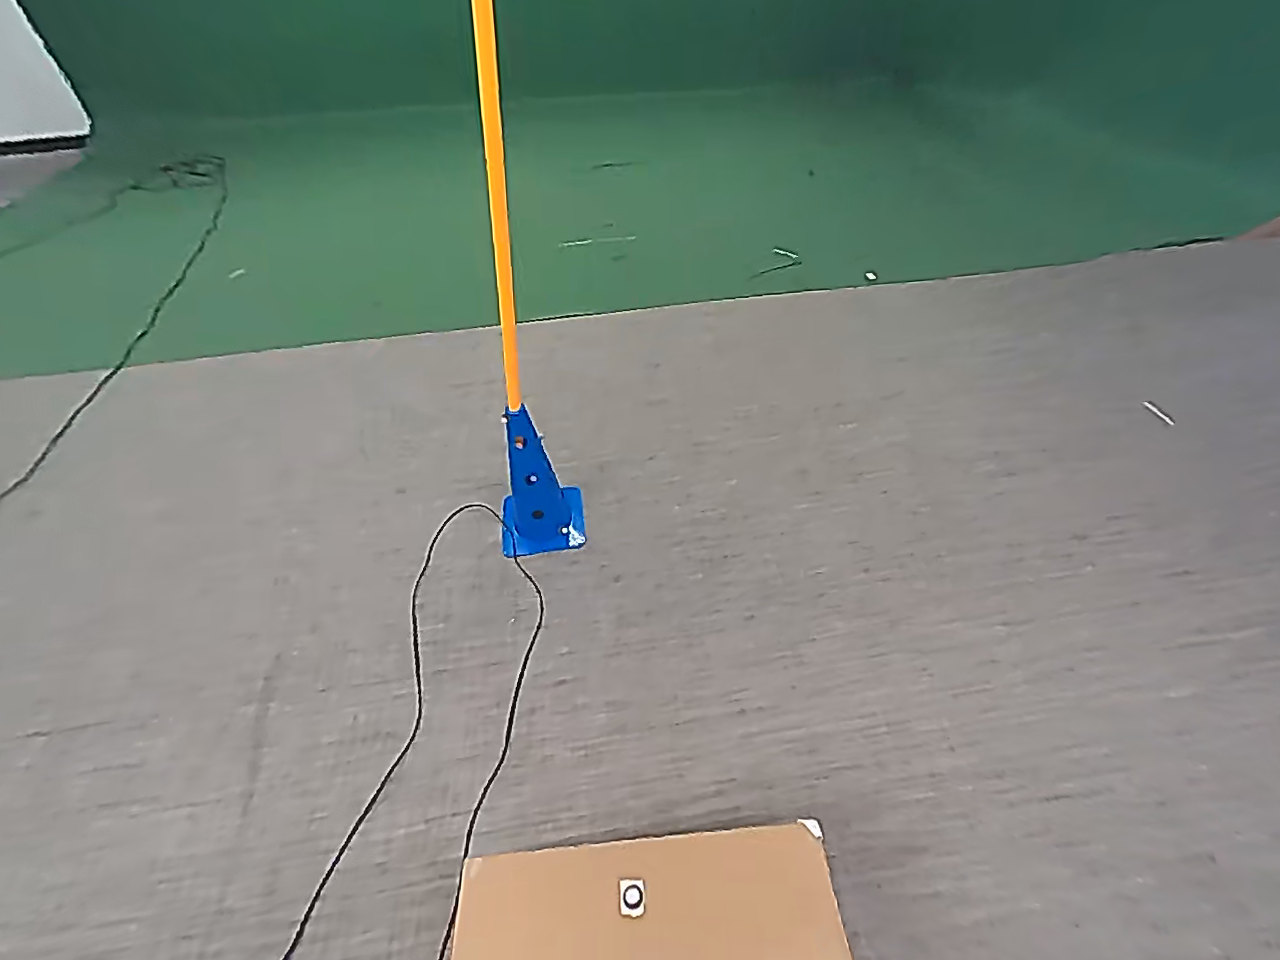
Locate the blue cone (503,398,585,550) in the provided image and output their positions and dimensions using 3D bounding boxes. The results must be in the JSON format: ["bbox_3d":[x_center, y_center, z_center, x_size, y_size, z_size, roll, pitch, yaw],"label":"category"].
[{"bbox_3d":[-0.240,-0.028,1.207,0.193,0.380,0.192,-8,47,-7],"label":"blue cone"}]
